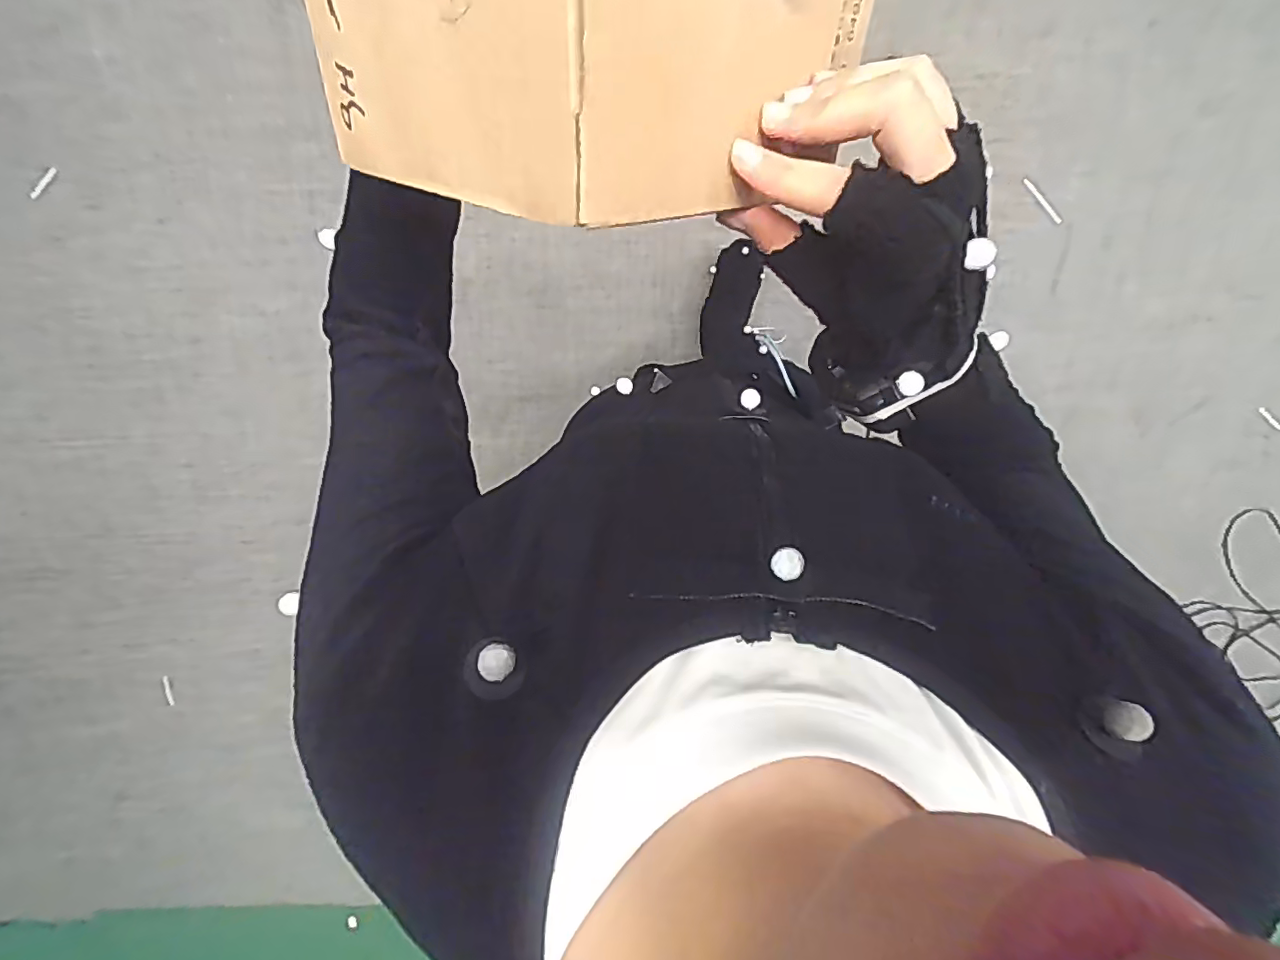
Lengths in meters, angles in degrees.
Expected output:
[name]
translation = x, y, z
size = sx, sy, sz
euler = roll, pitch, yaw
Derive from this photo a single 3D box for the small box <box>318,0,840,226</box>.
[small box]
translation = -0.021, -0.219, 0.230
size = 0.179, 0.176, 0.168
euler = 30, 132, 32
